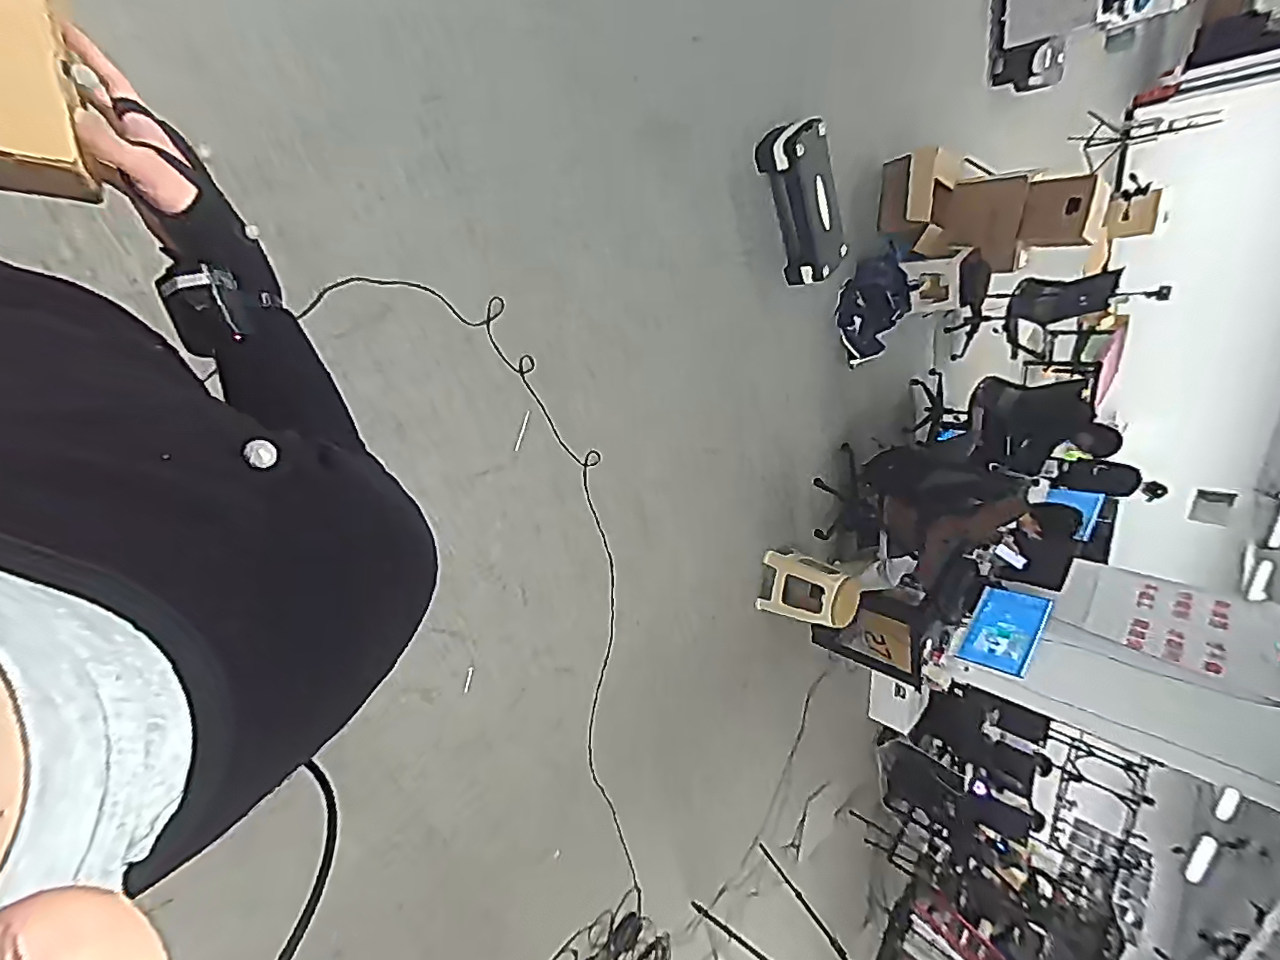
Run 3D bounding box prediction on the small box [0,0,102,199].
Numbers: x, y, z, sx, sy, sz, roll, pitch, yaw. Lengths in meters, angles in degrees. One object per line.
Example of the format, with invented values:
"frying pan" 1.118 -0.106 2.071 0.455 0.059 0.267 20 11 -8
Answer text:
"small box" -0.464 -0.287 0.333 0.168 0.176 0.179 -11 111 -40
